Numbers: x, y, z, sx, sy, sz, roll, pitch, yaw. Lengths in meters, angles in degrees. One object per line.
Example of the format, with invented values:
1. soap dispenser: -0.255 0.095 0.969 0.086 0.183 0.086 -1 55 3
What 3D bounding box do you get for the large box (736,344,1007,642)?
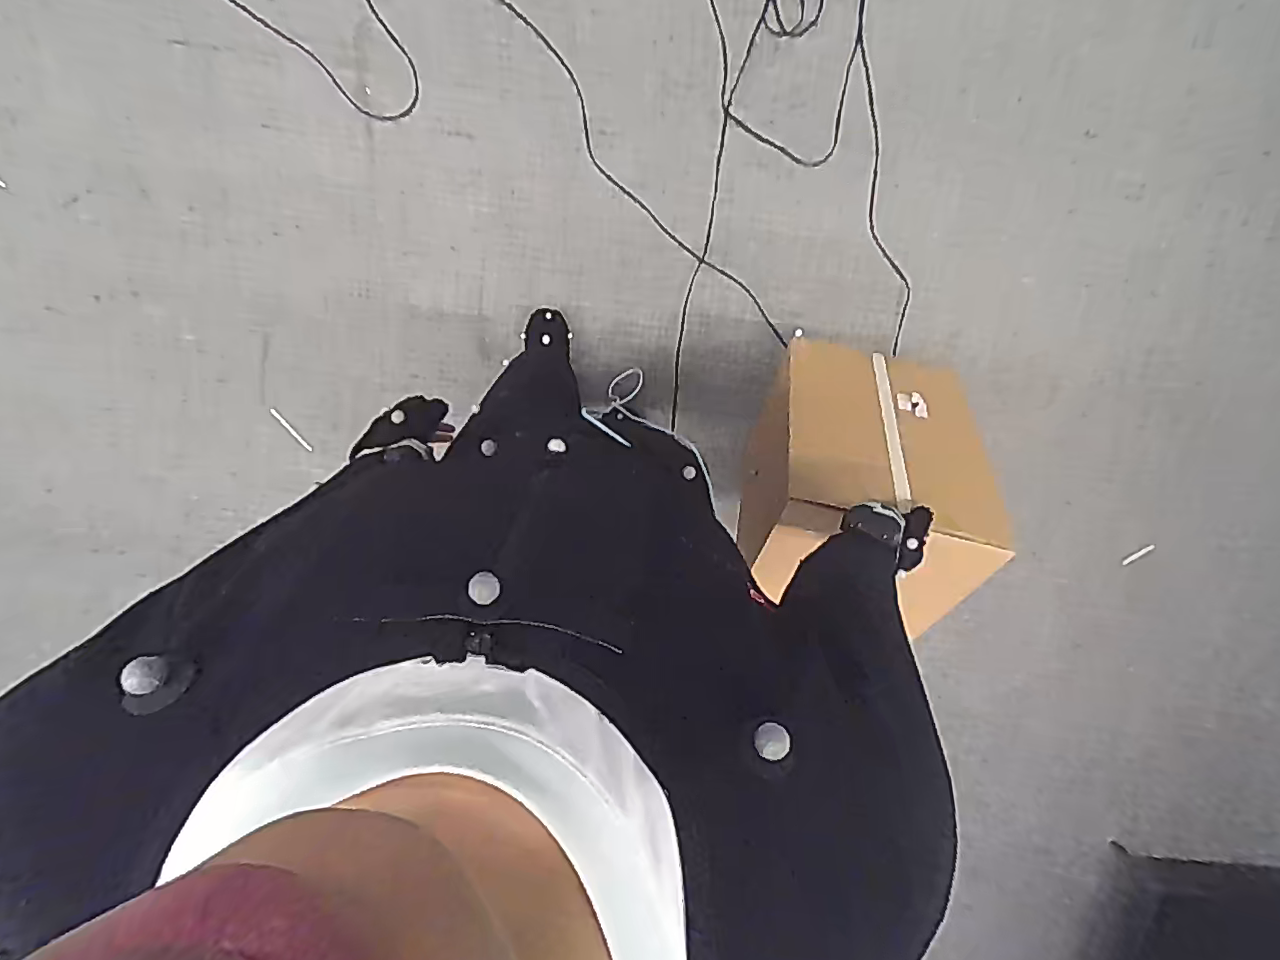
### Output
1. large box: 0.368 0.020 0.976 0.320 0.408 0.320 14 138 1
